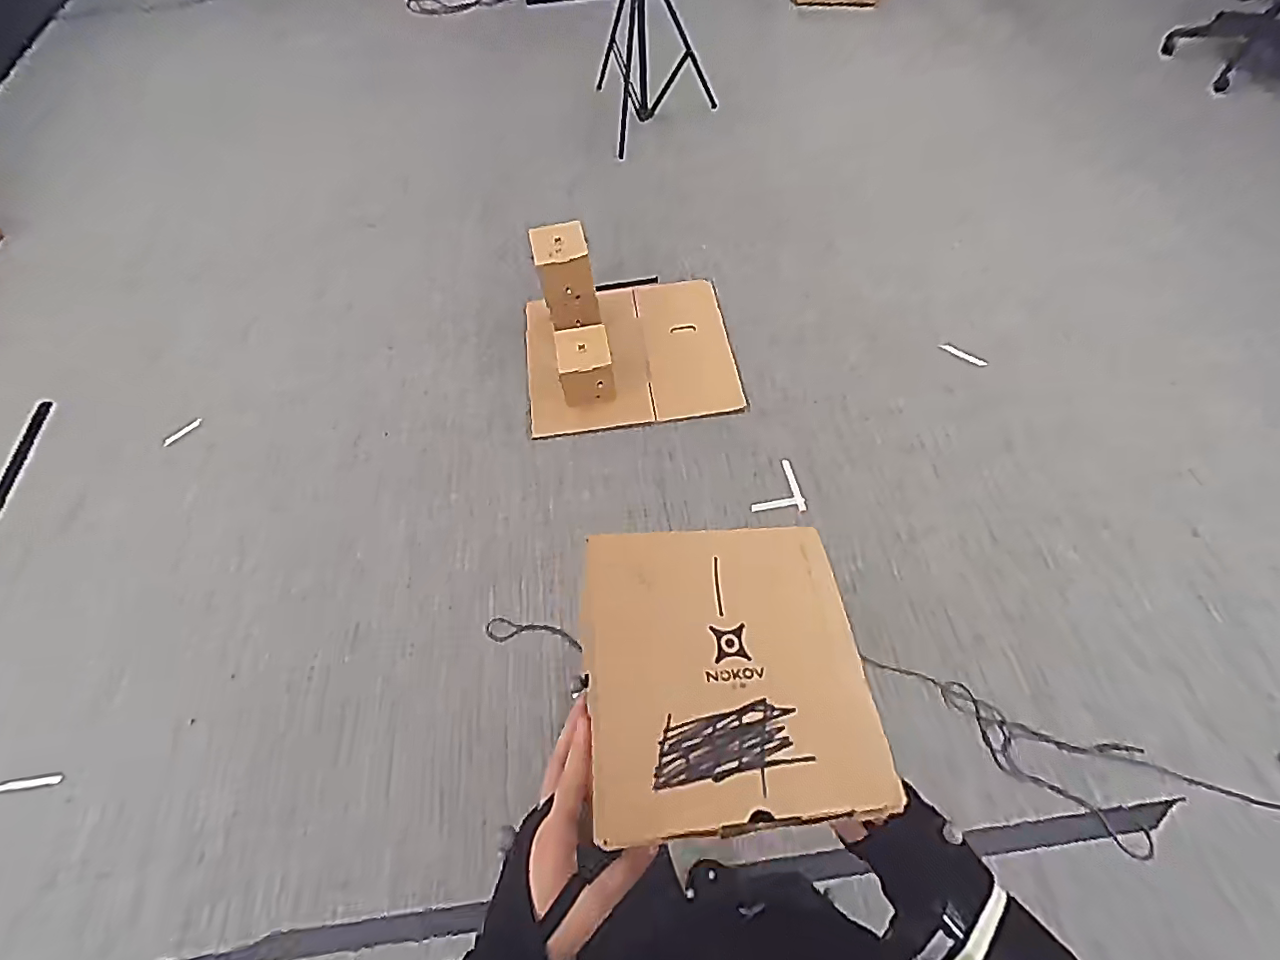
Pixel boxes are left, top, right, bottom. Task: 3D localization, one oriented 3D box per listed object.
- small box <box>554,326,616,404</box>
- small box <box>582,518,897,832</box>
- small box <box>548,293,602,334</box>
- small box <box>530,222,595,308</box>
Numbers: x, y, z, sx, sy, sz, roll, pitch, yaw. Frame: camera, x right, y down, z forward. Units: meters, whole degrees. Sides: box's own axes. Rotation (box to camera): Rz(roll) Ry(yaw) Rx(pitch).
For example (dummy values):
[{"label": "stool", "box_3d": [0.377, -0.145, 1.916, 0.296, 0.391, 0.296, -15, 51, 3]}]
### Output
[{"label": "small box", "box_3d": [-0.174, -0.361, 1.732, 0.168, 0.176, 0.179, -10, 60, -3]}, {"label": "small box", "box_3d": [0.044, 0.145, 0.393, 0.168, 0.176, 0.179, -1, 56, -9]}, {"label": "small box", "box_3d": [-0.232, -0.602, 1.867, 0.168, 0.176, 0.179, -14, 62, -5]}, {"label": "small box", "box_3d": [-0.245, -0.682, 1.724, 0.168, 0.176, 0.179, -13, 61, -3]}]
